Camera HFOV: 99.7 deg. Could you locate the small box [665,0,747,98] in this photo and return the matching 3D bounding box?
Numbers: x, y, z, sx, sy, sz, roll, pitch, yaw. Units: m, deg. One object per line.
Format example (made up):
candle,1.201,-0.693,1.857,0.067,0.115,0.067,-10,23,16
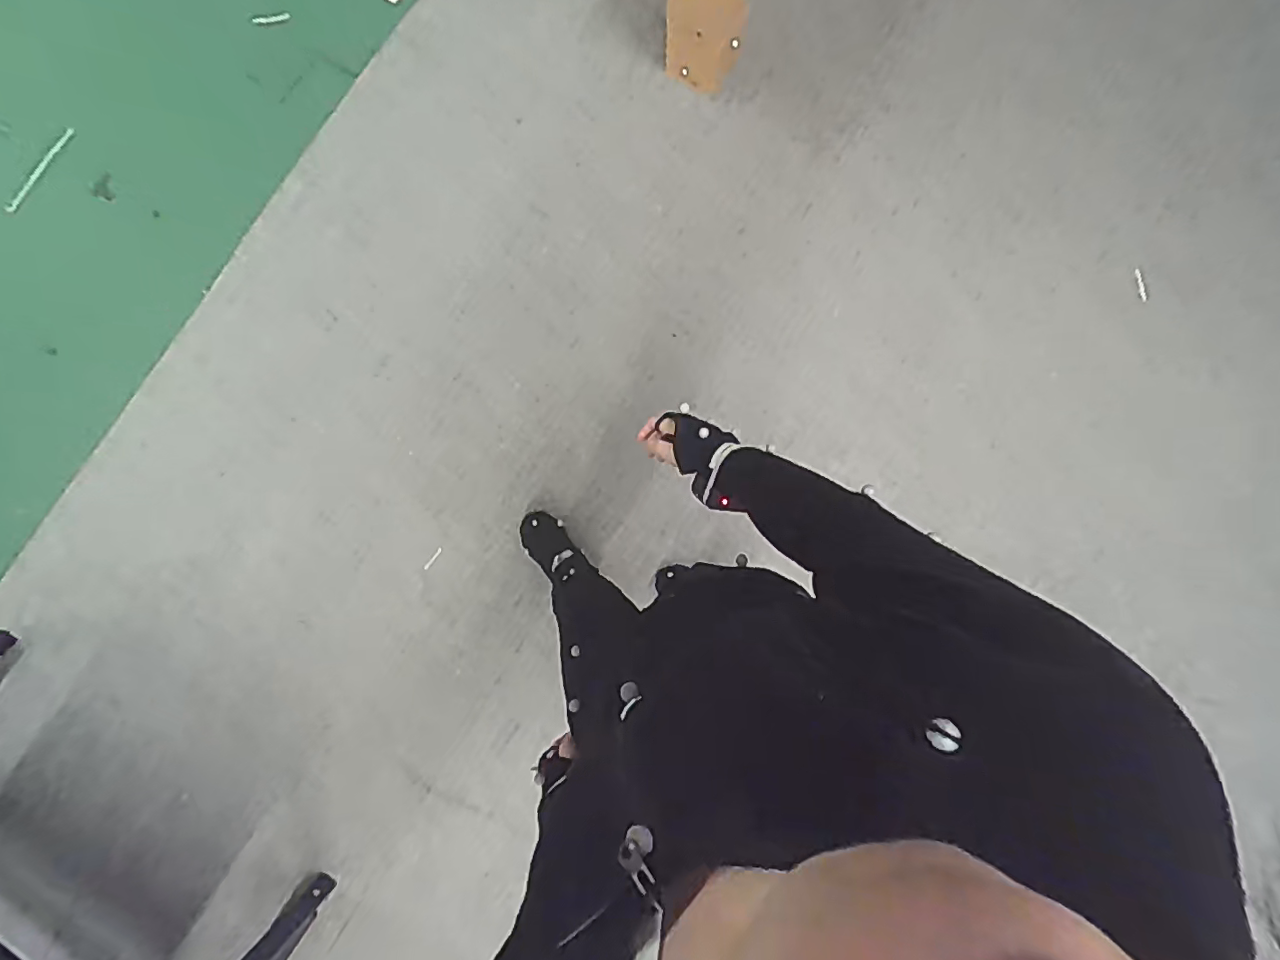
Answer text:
small box,0.181,-1.264,1.554,0.168,0.176,0.179,32,86,3
